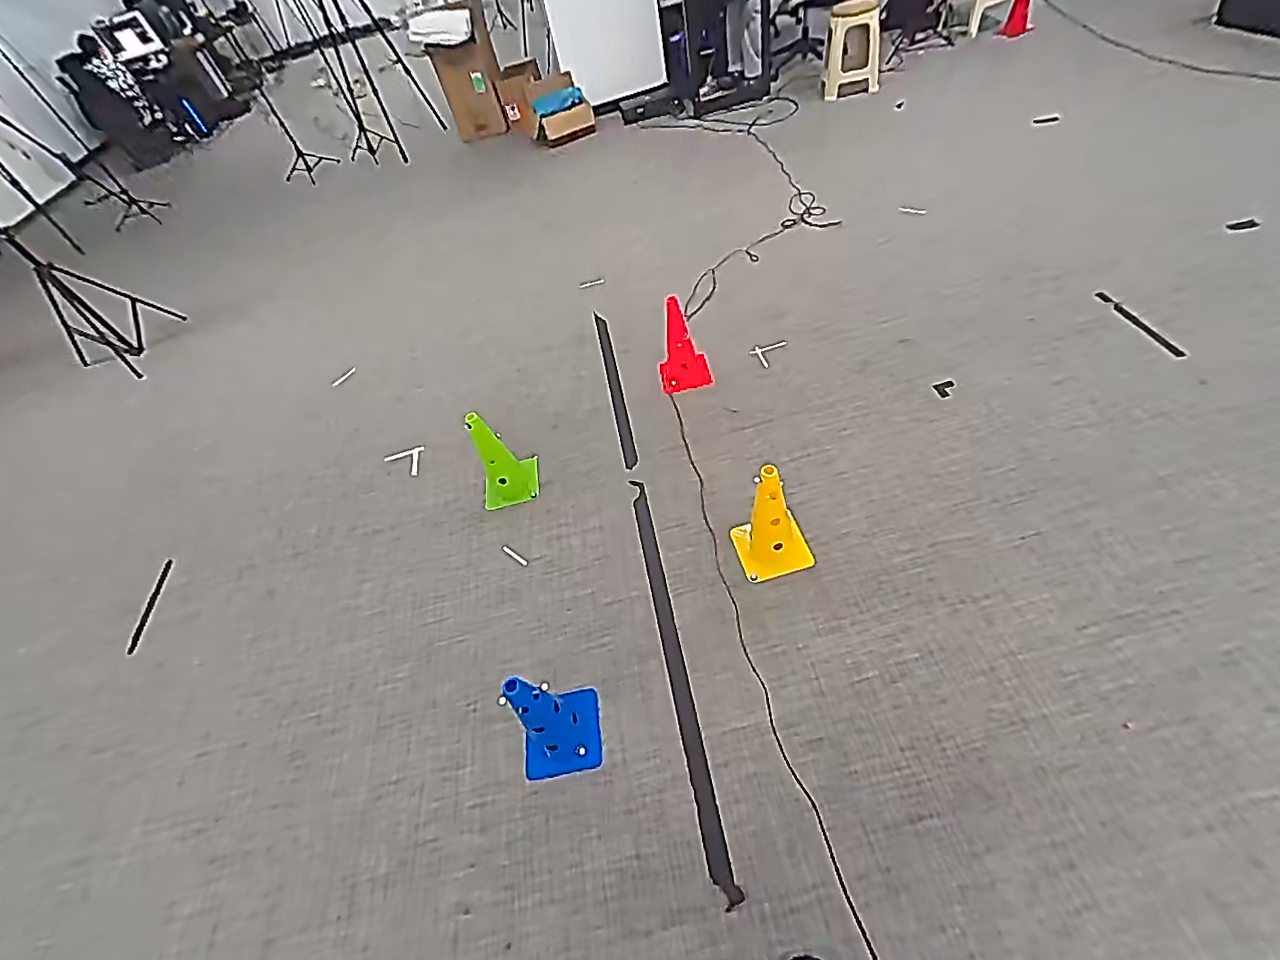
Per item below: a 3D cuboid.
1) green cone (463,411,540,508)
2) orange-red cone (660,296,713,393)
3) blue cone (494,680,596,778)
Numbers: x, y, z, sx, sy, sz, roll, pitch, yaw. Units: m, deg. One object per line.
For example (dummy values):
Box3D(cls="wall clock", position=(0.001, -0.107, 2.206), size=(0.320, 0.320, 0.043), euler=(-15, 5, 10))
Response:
Box3D(cls="green cone", position=(-0.505, -0.102, 1.868), size=(0.202, 0.368, 0.200), euler=(-15, 49, 3))
Box3D(cls="orange-red cone", position=(0.155, -0.537, 2.061), size=(0.199, 0.360, 0.198), euler=(-11, 51, 4))
Box3D(cls="blue cone", position=(-0.243, 0.552, 1.277), size=(0.192, 0.380, 0.193), euler=(-13, 49, 6))
